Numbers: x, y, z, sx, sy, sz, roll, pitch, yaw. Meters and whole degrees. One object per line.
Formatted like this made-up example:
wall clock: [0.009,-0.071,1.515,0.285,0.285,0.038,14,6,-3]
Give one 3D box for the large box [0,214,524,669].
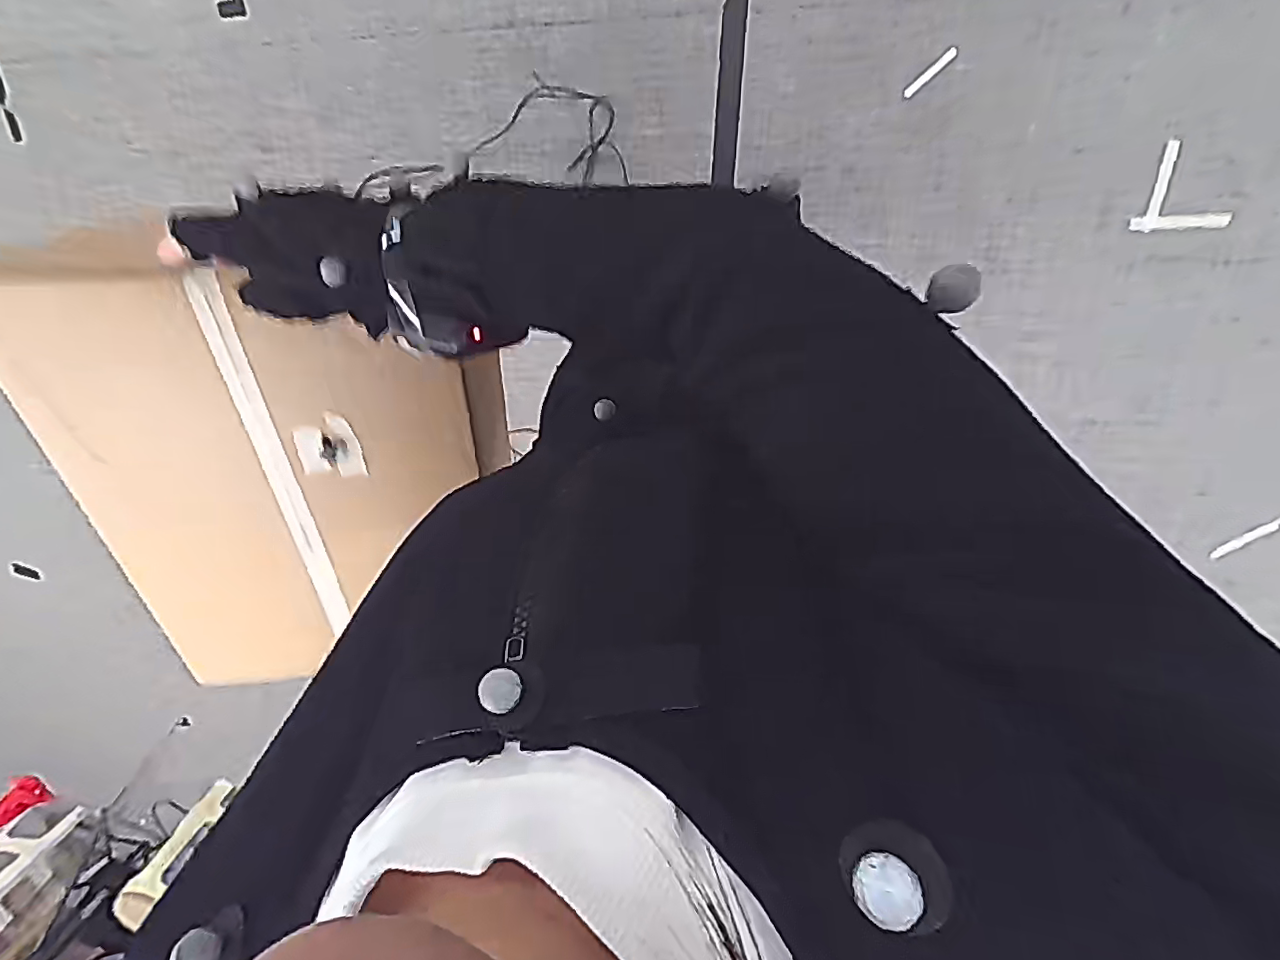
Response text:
large box: [-0.314,-0.059,0.608,0.320,0.320,0.408,-6,122,-9]
